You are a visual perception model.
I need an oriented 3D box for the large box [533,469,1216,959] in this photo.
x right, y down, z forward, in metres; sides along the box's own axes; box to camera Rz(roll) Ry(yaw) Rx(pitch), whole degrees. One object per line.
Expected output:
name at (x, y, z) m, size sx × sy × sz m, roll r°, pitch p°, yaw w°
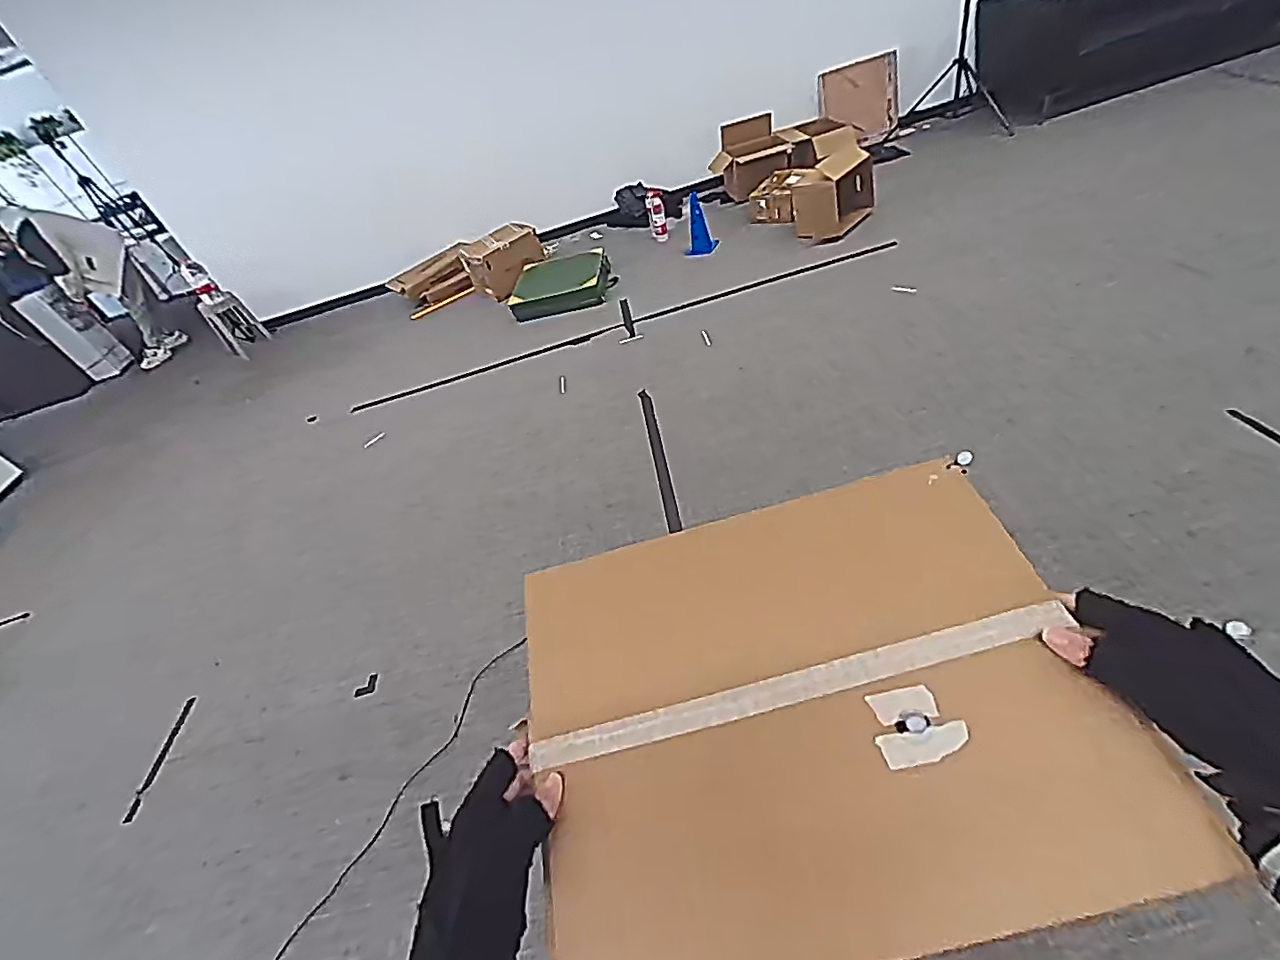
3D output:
large box at (0.148, 0.250, 0.528) m, size 0.408 × 0.320 × 0.320 m, roll -17°, pitch 53°, yaw 2°
